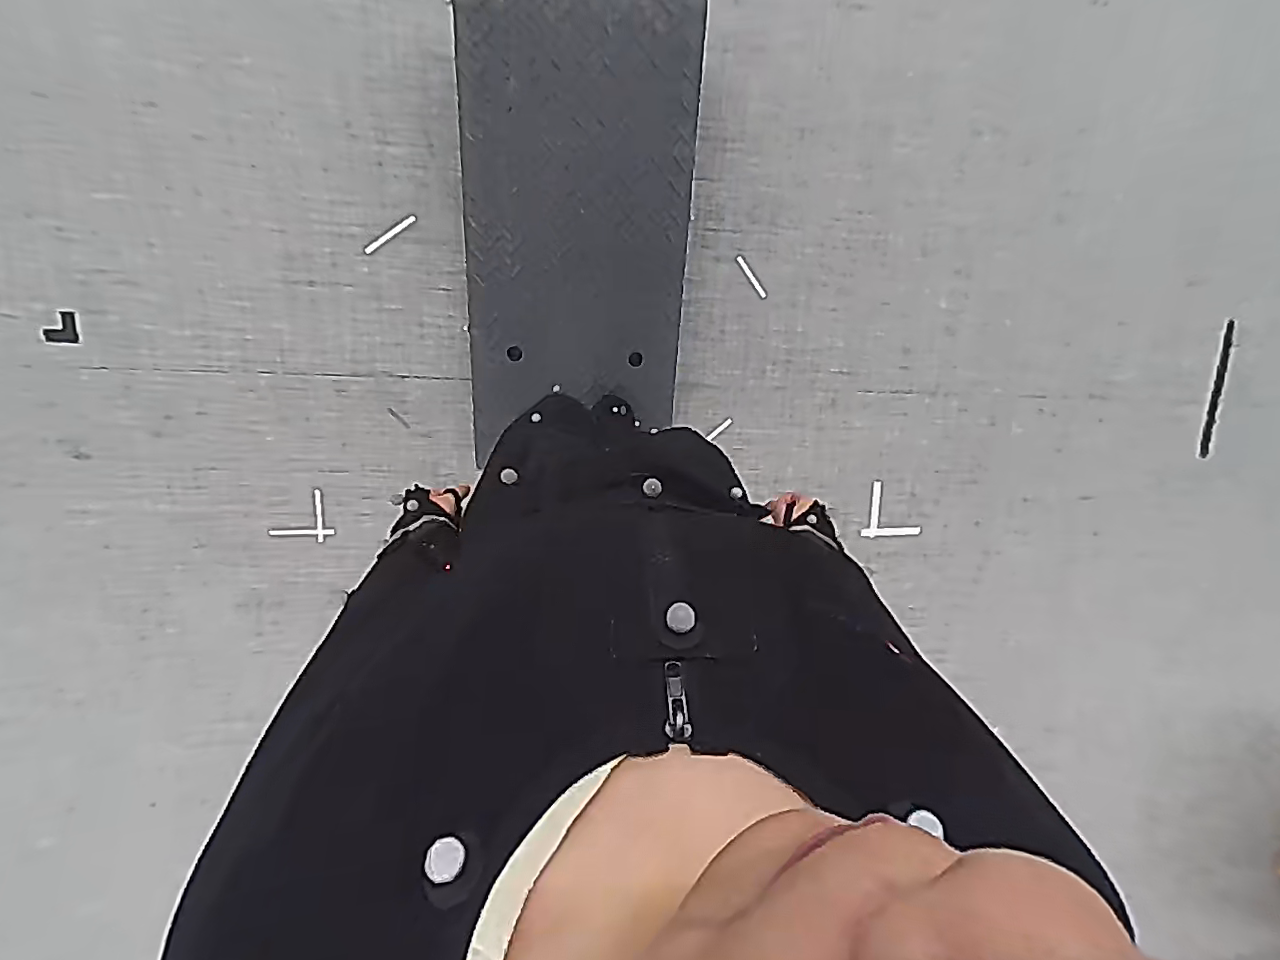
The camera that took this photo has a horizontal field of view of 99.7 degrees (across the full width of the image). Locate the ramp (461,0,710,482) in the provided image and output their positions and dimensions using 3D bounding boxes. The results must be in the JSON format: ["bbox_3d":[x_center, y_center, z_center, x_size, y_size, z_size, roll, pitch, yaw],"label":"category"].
[{"bbox_3d":[-0.119,-0.462,1.224,0.509,0.206,0.991,-1,100,-7],"label":"ramp"}]
